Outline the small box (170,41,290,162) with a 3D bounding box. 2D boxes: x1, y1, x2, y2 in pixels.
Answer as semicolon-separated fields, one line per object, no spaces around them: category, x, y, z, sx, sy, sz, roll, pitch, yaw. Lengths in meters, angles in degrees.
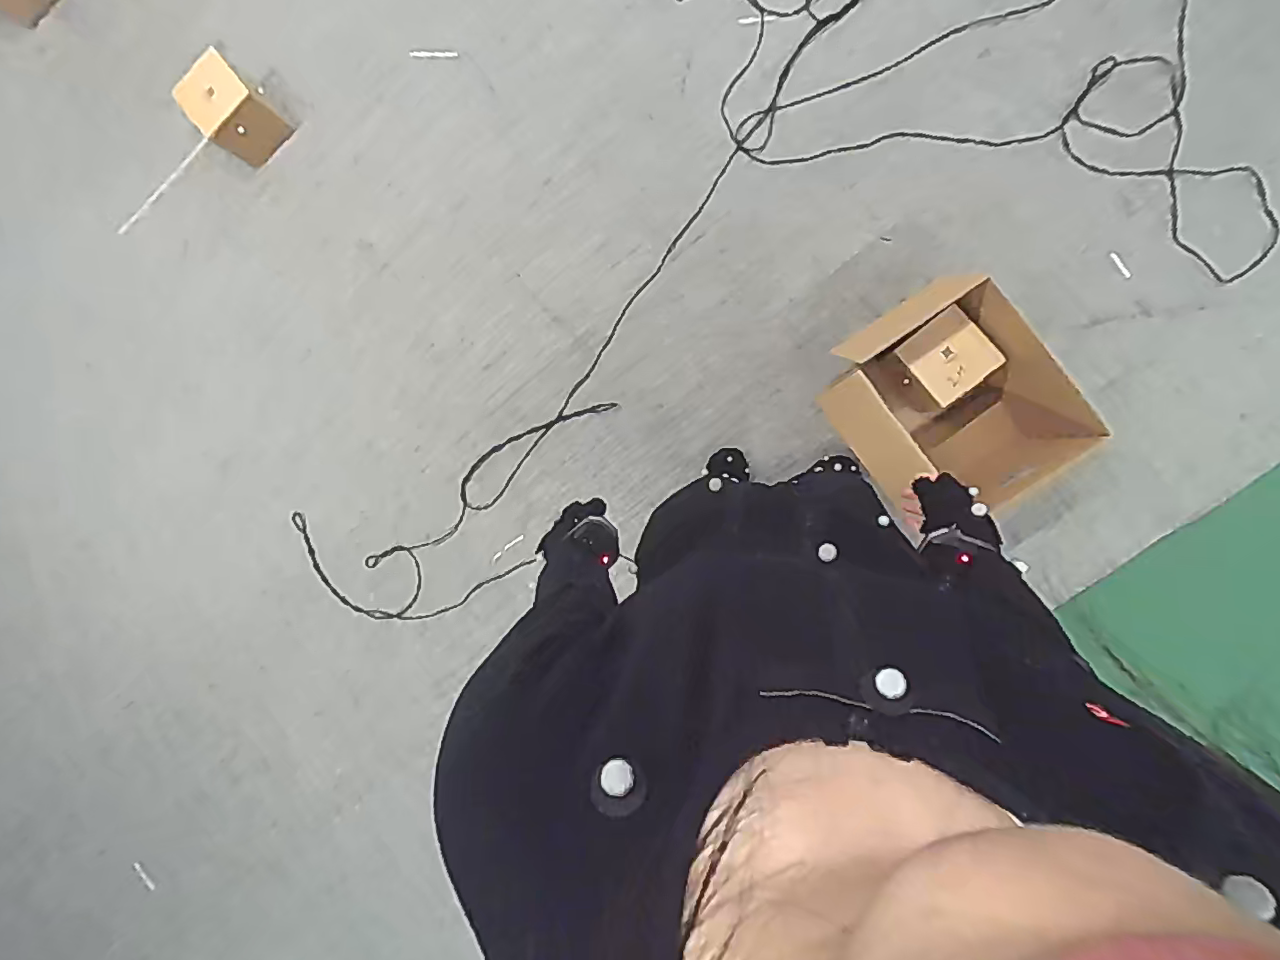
small box;-1.114;-1.033;1.491;0.179;0.176;0.168;-39;89;10
